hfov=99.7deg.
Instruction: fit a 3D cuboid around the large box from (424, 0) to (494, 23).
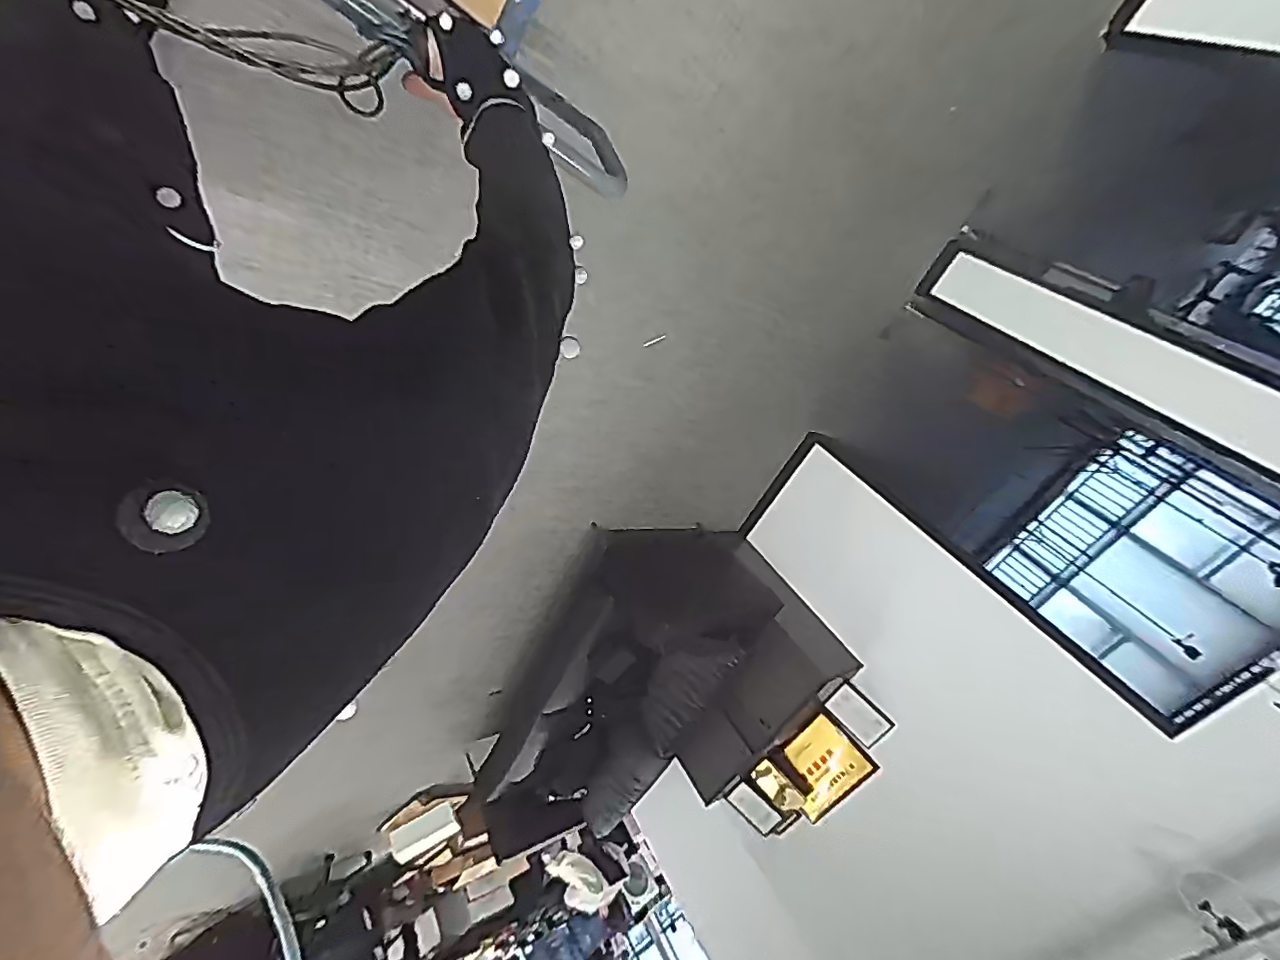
[{"bbox_3d":[-0.329,-0.993,0.776,0.320,0.320,0.408,11,122,-48],"label":"large box"}]
